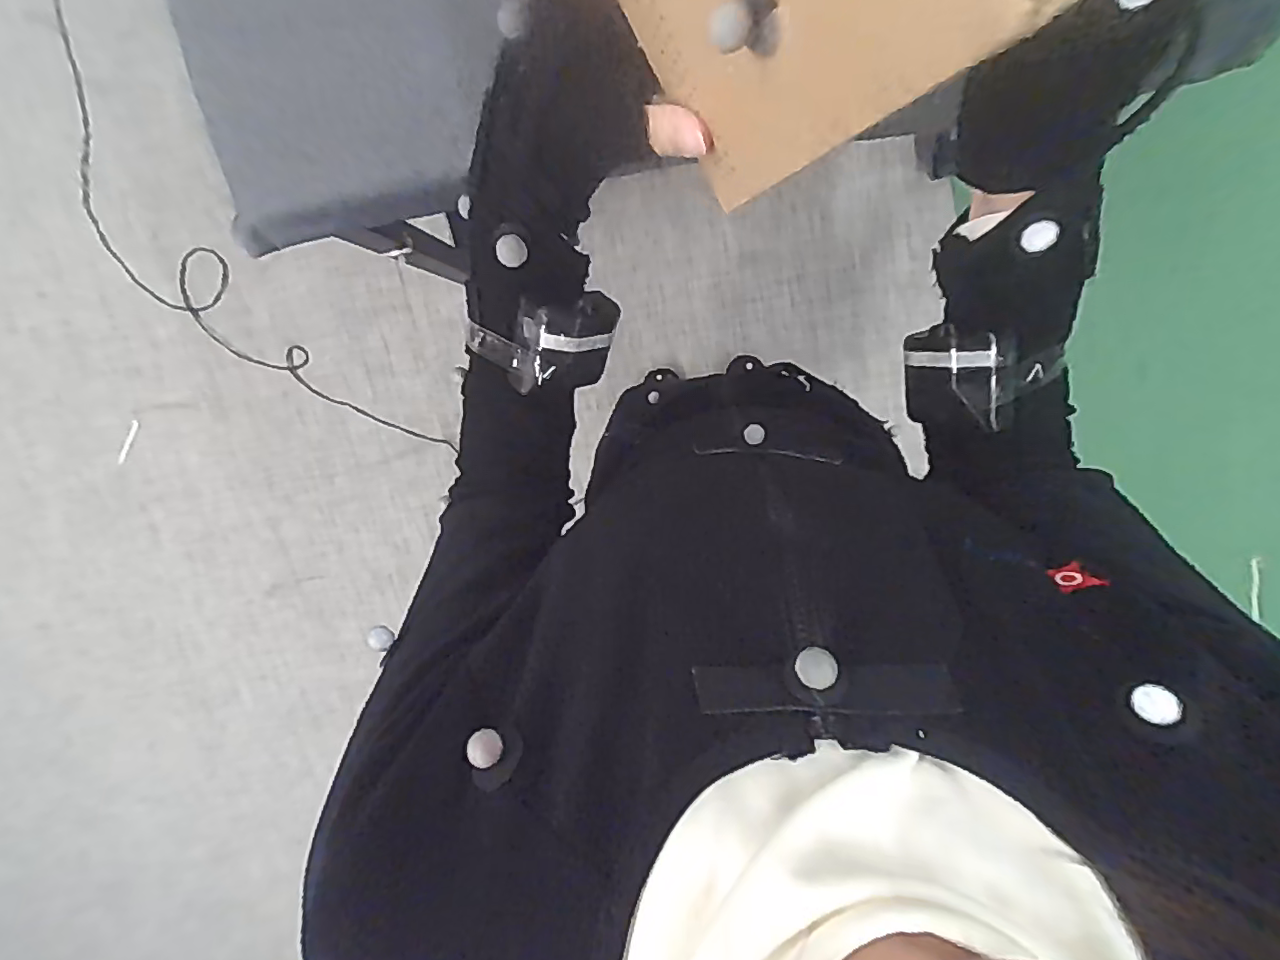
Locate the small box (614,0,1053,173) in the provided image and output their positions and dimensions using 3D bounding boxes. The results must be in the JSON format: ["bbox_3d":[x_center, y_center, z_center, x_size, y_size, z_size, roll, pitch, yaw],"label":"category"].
[{"bbox_3d":[0.075,-0.221,0.155,0.168,0.176,0.179,-35,107,-2],"label":"small box"}]
